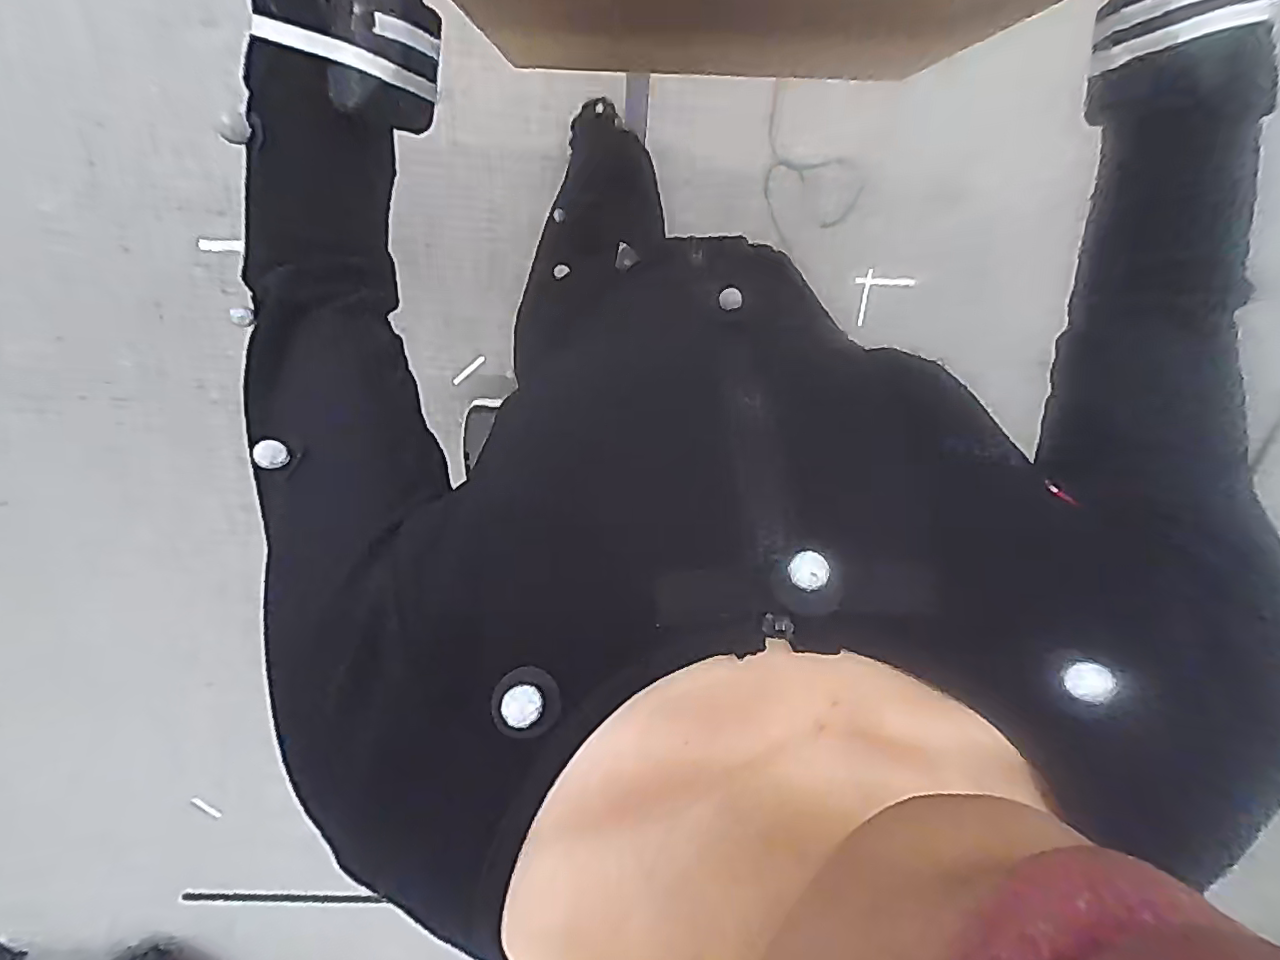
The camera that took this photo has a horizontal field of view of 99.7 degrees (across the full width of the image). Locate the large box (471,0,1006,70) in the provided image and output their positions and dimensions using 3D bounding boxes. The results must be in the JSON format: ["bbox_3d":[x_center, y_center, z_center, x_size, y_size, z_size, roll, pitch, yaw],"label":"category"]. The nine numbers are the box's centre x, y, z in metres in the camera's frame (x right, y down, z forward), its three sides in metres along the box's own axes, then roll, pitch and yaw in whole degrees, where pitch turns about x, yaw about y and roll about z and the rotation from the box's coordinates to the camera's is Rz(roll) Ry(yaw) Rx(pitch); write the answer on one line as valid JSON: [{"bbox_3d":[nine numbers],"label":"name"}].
[{"bbox_3d":[0.071,-0.496,0.356,0.408,0.320,0.320,1,117,0],"label":"large box"}]
